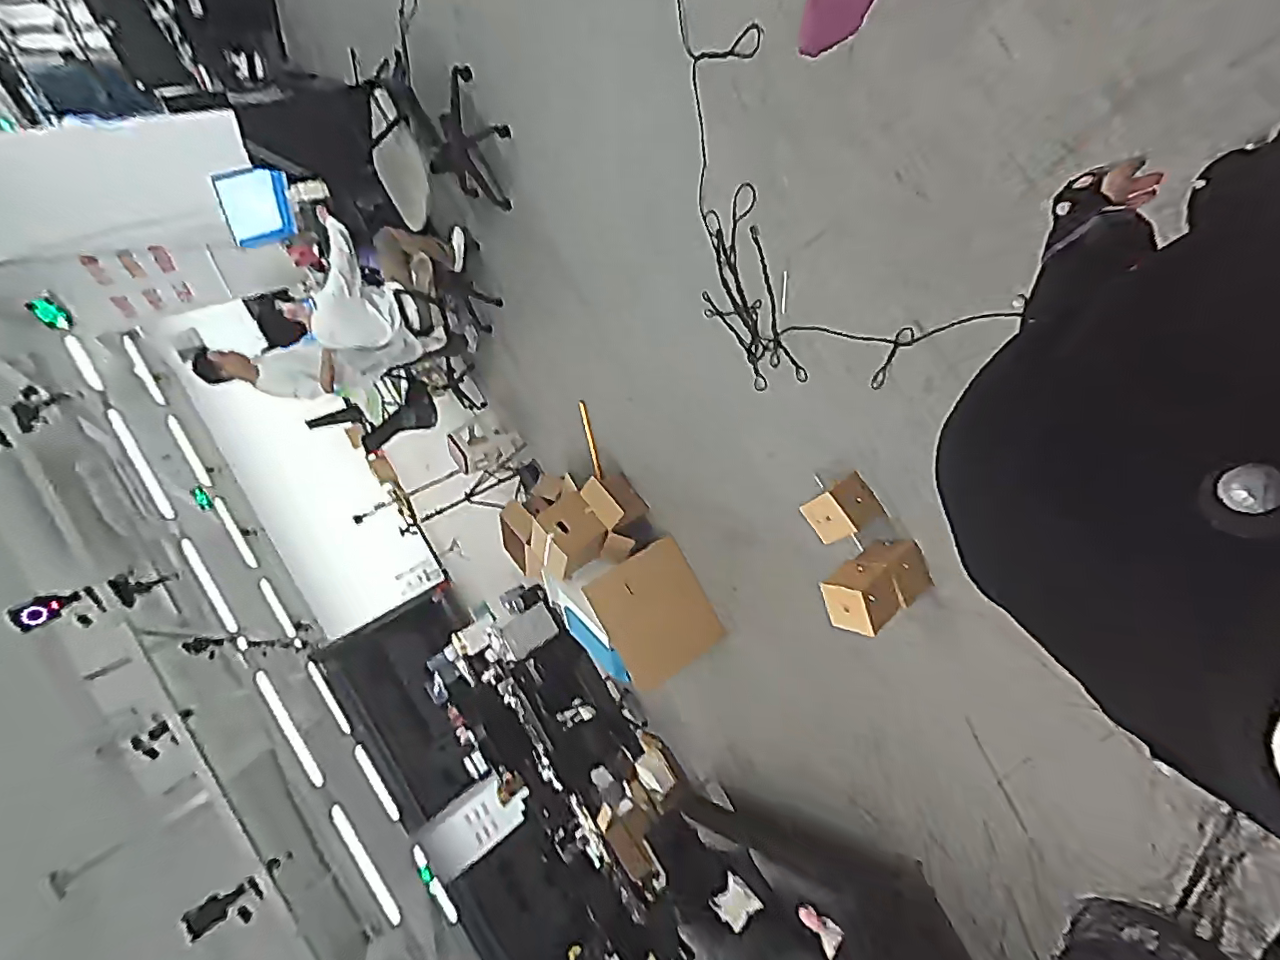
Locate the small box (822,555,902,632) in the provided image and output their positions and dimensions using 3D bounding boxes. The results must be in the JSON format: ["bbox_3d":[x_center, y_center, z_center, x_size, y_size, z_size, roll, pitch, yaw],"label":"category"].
[{"bbox_3d":[0.755,0.379,1.827,0.168,0.176,0.179,1,116,58],"label":"small box"}]

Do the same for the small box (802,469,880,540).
[{"bbox_3d":[0.727,0.085,1.934,0.168,0.176,0.179,56,152,7],"label":"small box"}]
